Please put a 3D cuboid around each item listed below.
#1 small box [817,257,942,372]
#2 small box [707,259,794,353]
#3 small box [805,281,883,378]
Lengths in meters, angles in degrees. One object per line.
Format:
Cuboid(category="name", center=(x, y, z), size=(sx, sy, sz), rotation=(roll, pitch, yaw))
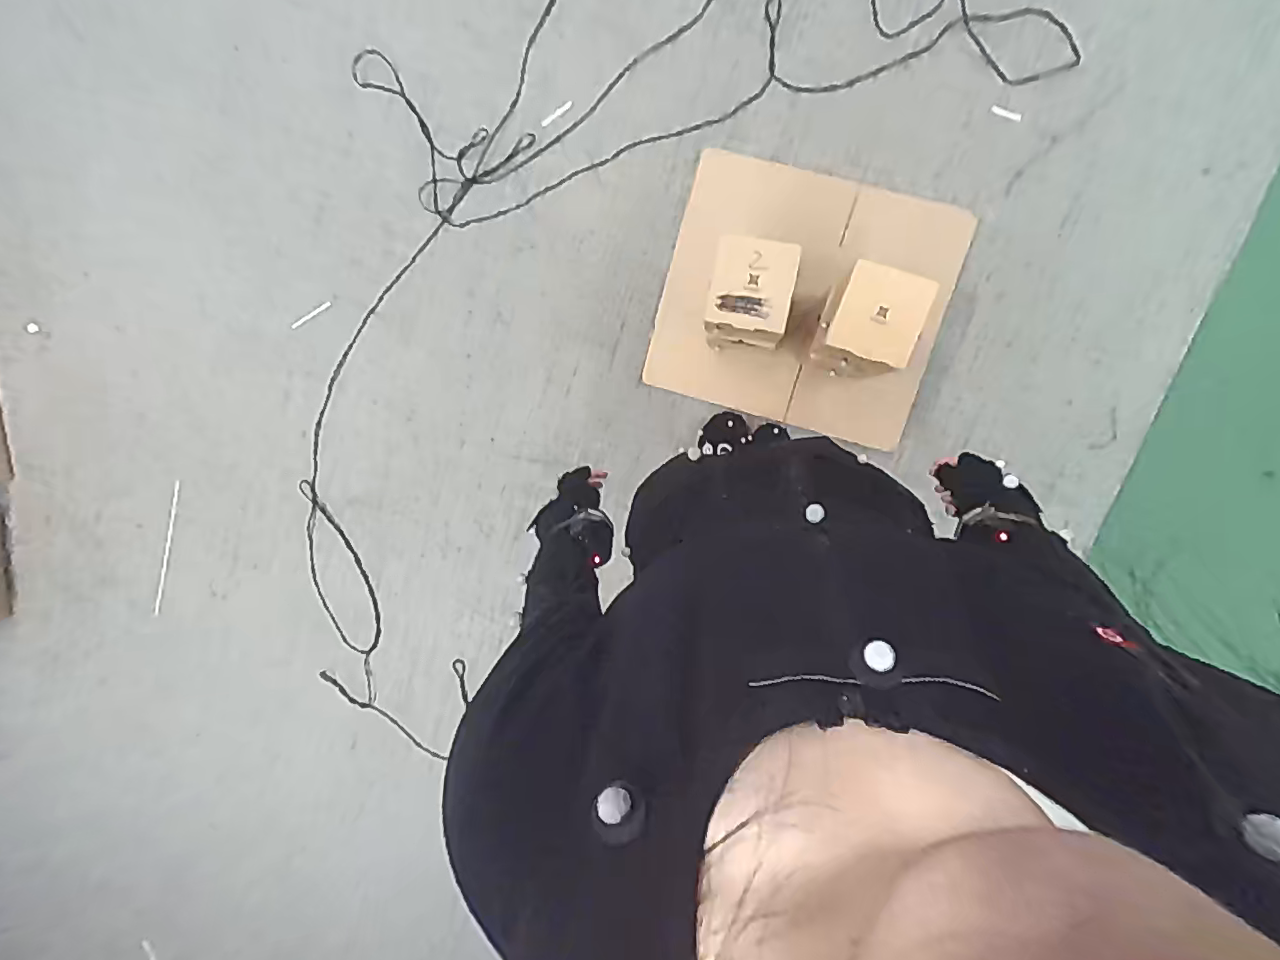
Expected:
Cuboid(category="small box", center=(0.487, -0.336, 1.132), size=(0.168, 0.176, 0.179), rotation=(20, 101, 5))
Cuboid(category="small box", center=(0.264, -0.414, 1.315), size=(0.168, 0.176, 0.179), rotation=(13, 99, 6))
Cuboid(category="small box", center=(0.506, -0.352, 1.293), size=(0.168, 0.176, 0.179), rotation=(17, 100, 7))
